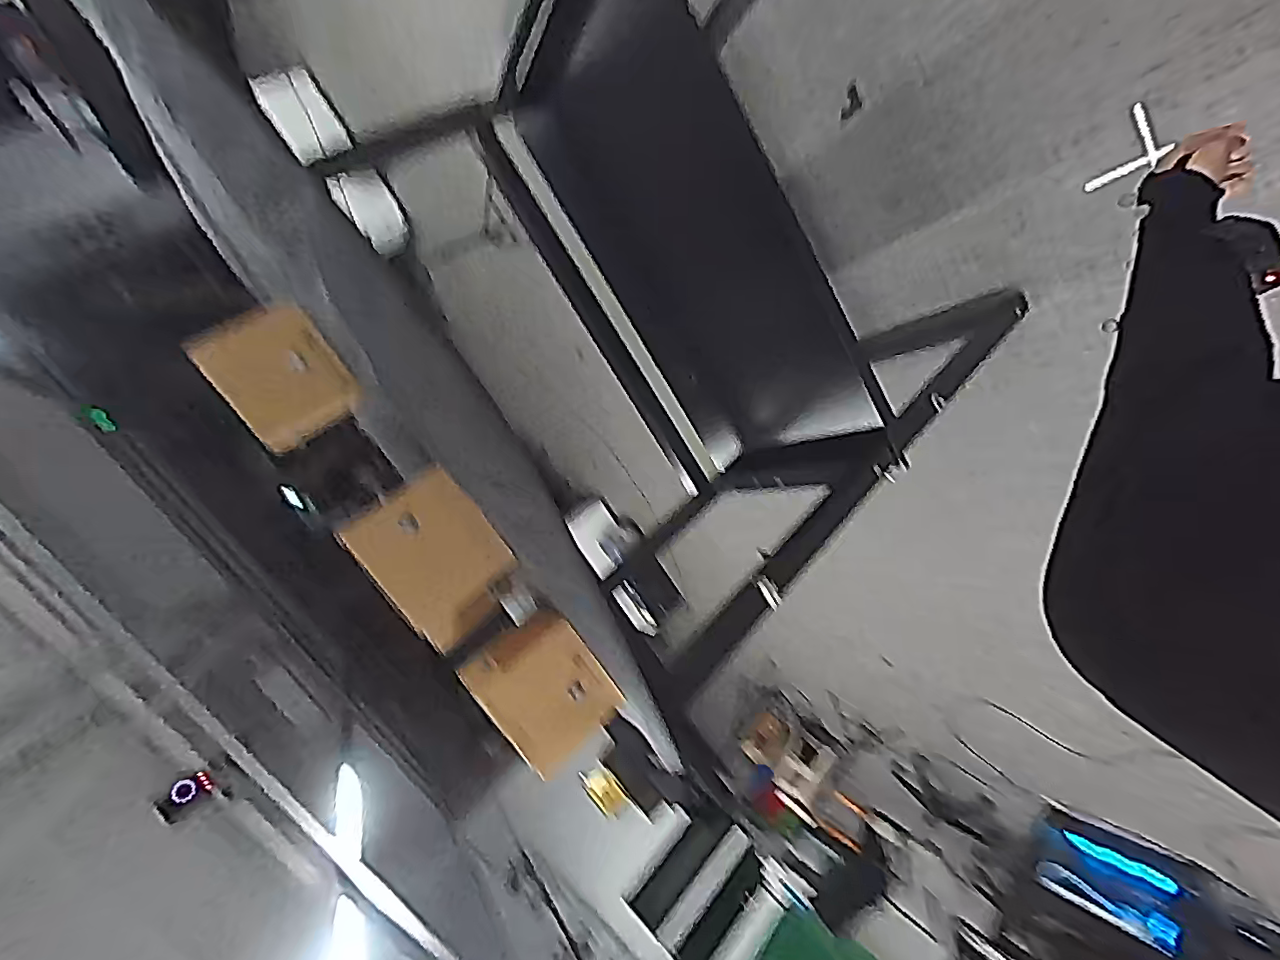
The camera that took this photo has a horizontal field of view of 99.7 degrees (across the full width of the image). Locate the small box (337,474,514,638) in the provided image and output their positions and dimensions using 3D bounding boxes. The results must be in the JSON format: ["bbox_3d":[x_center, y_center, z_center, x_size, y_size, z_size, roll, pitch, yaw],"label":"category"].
[{"bbox_3d":[-0.319,0.103,0.814,0.179,0.176,0.168,56,157,-11],"label":"small box"}]

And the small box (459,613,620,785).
[{"bbox_3d":[-0.160,0.332,0.863,0.168,0.176,0.179,55,154,-10],"label":"small box"}]

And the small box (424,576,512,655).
[{"bbox_3d":[-0.370,0.200,1.035,0.168,0.176,0.179,57,155,-13],"label":"small box"}]

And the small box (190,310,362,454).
[{"bbox_3d":[-0.600,-0.161,0.917,0.168,0.176,0.179,57,154,-16],"label":"small box"}]
